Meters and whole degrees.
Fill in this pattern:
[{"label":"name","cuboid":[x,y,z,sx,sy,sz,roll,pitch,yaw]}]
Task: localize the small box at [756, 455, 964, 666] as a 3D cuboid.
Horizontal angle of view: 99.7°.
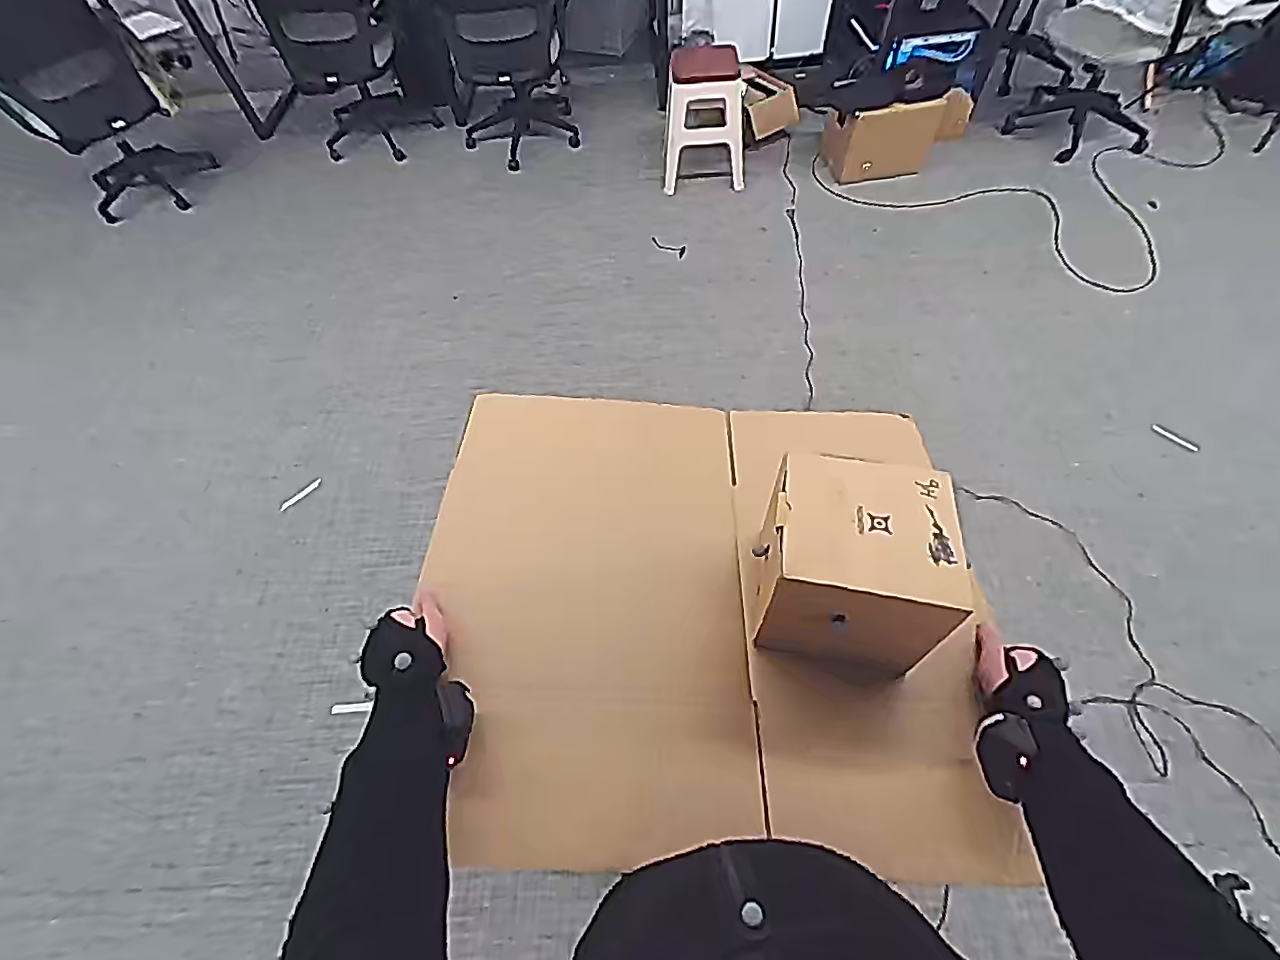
[{"label":"small box","cuboid":[0.232,0.095,0.618,0.179,0.176,0.168,8,53,9]}]
